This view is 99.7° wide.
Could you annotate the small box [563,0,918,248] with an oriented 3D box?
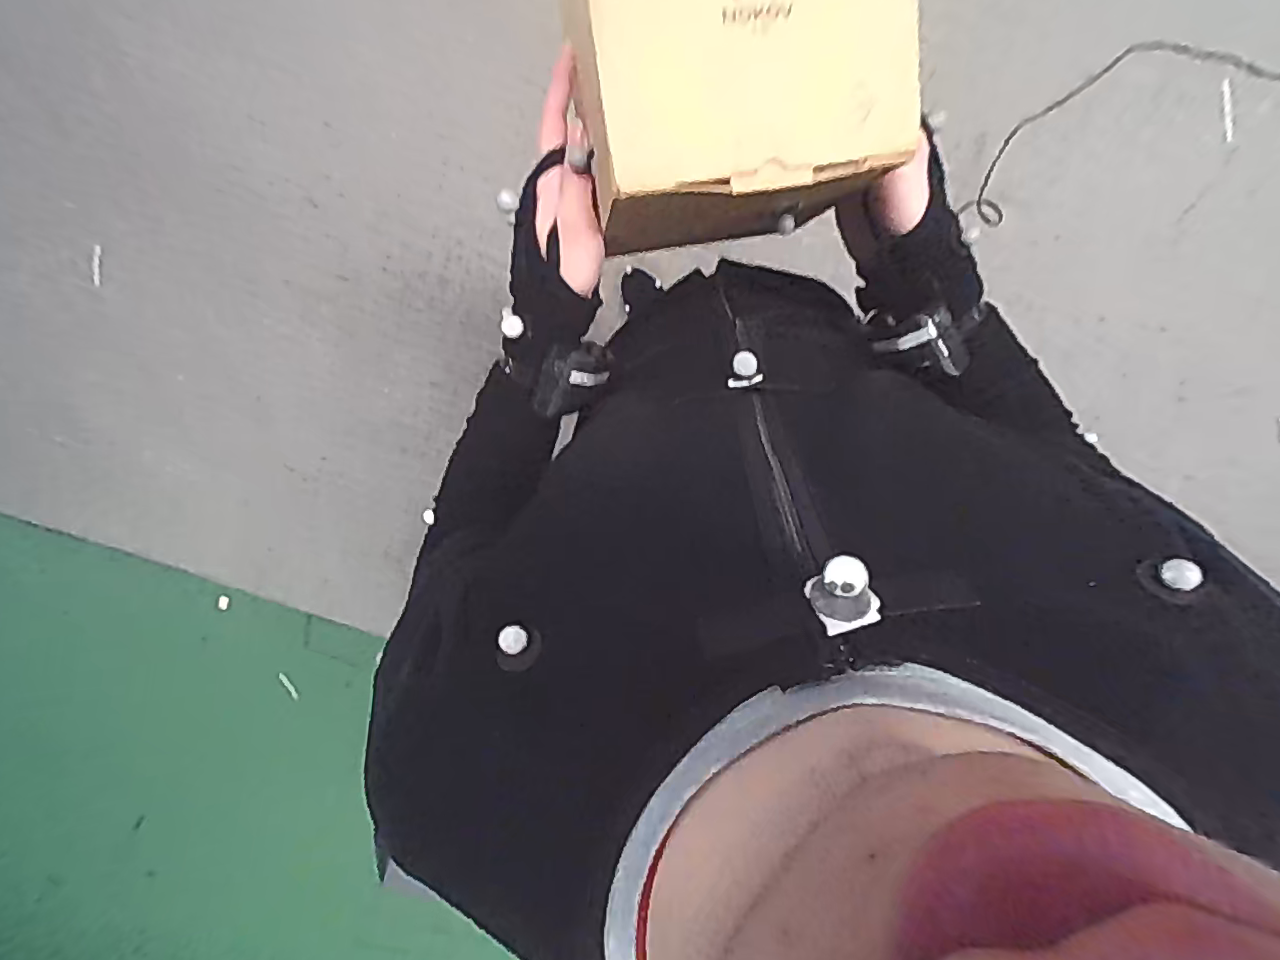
[{"bbox_3d":[0.045,-0.256,0.339,0.168,0.176,0.179,-10,102,-6],"label":"small box"}]
